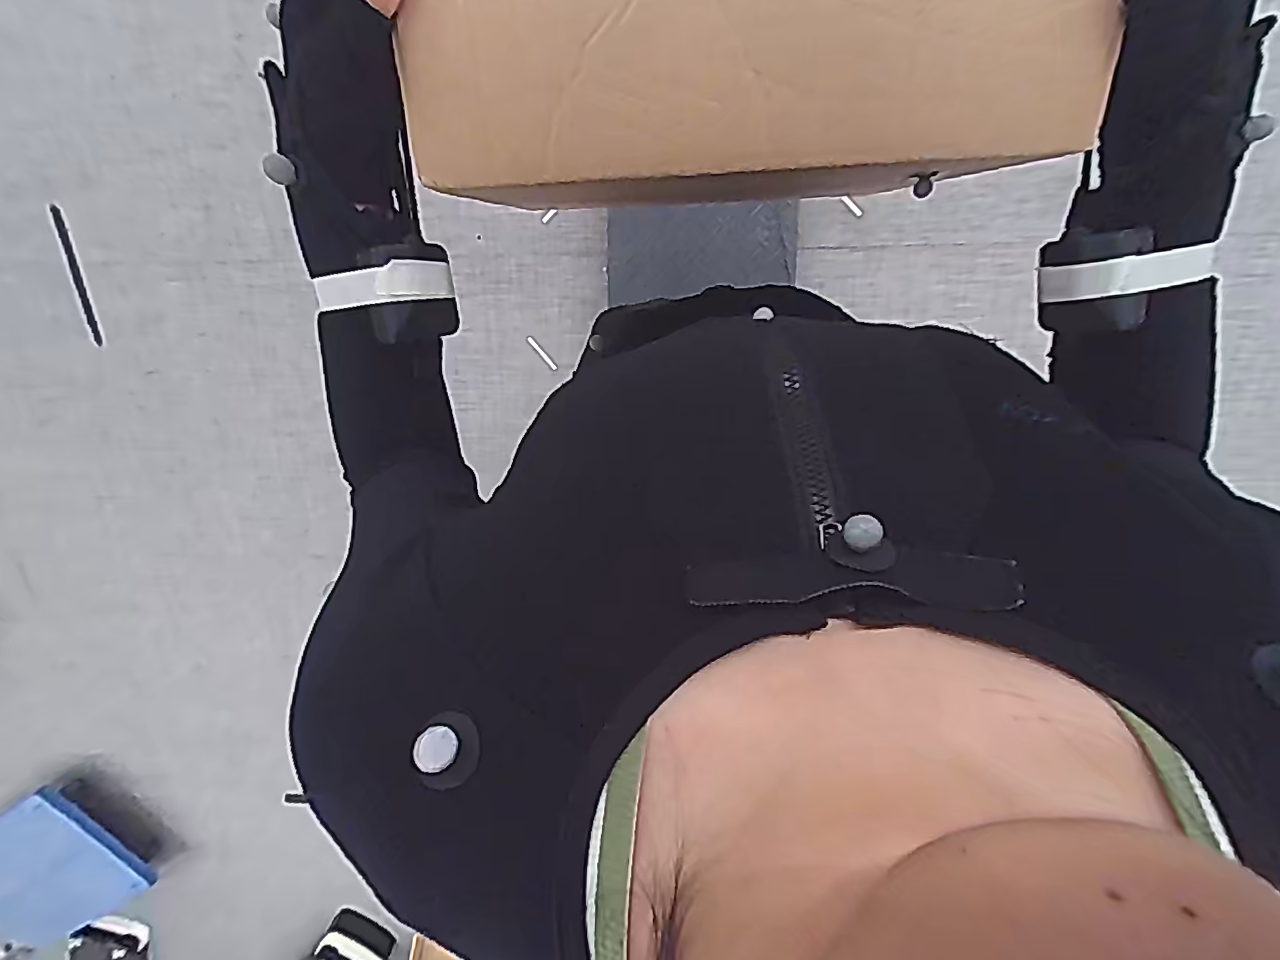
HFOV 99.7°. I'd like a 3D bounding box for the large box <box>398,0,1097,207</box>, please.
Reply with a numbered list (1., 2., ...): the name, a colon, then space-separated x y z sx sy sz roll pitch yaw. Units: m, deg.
1. large box: 0.060 -0.396 0.414 0.408 0.320 0.320 -2 114 2
